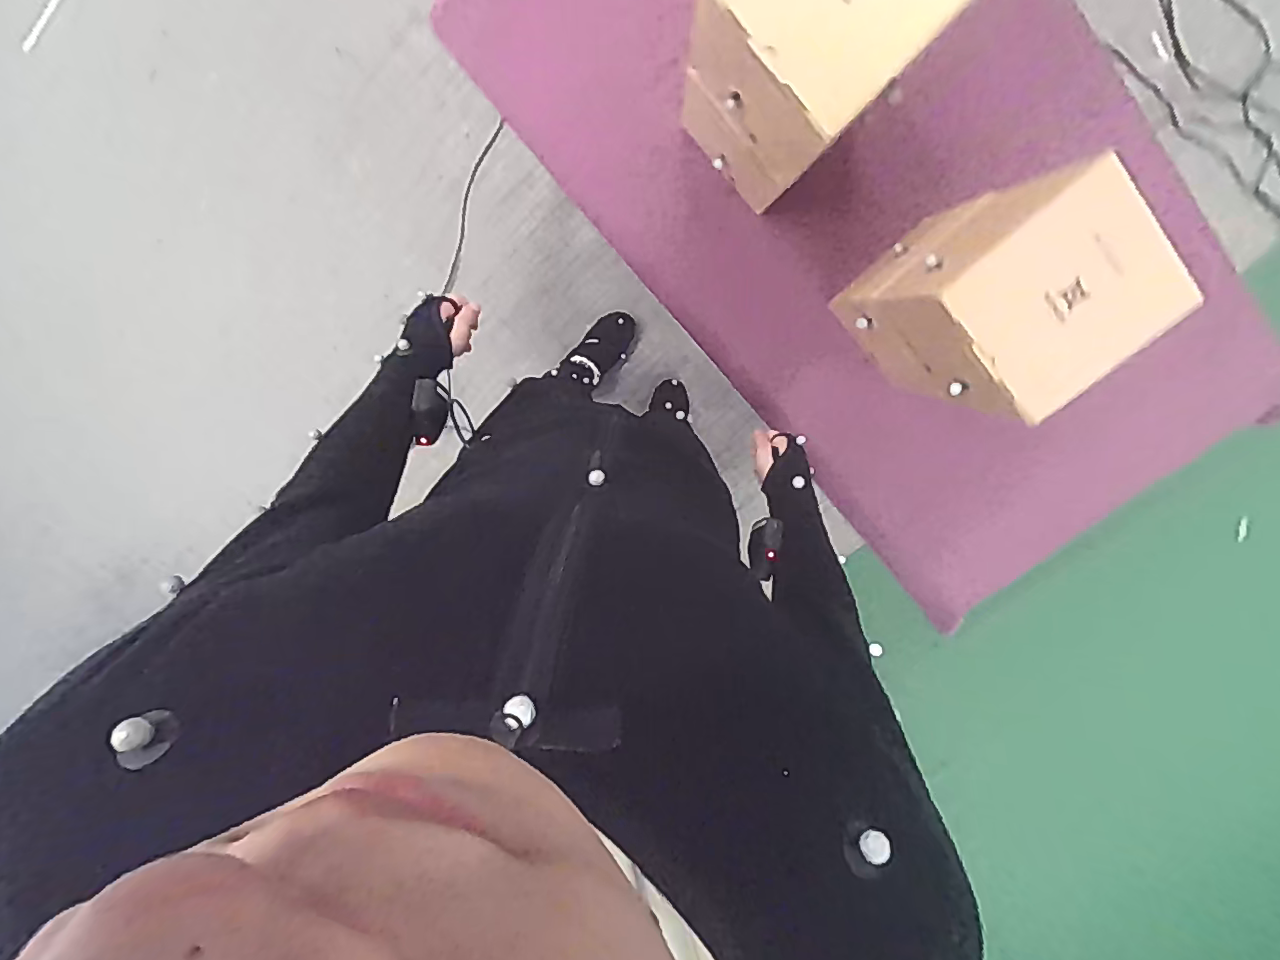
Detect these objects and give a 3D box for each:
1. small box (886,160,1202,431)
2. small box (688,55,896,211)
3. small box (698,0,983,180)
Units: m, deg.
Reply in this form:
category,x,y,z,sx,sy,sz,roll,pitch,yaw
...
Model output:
category,x,y,z,sx,sy,sz,roll,pitch,yaw
small box,0.387,-0.179,0.561,0.179,0.176,0.168,-40,102,11
small box,0.172,-0.463,0.653,0.179,0.176,0.168,-42,101,13
small box,0.170,-0.418,0.497,0.179,0.176,0.168,-42,102,13
